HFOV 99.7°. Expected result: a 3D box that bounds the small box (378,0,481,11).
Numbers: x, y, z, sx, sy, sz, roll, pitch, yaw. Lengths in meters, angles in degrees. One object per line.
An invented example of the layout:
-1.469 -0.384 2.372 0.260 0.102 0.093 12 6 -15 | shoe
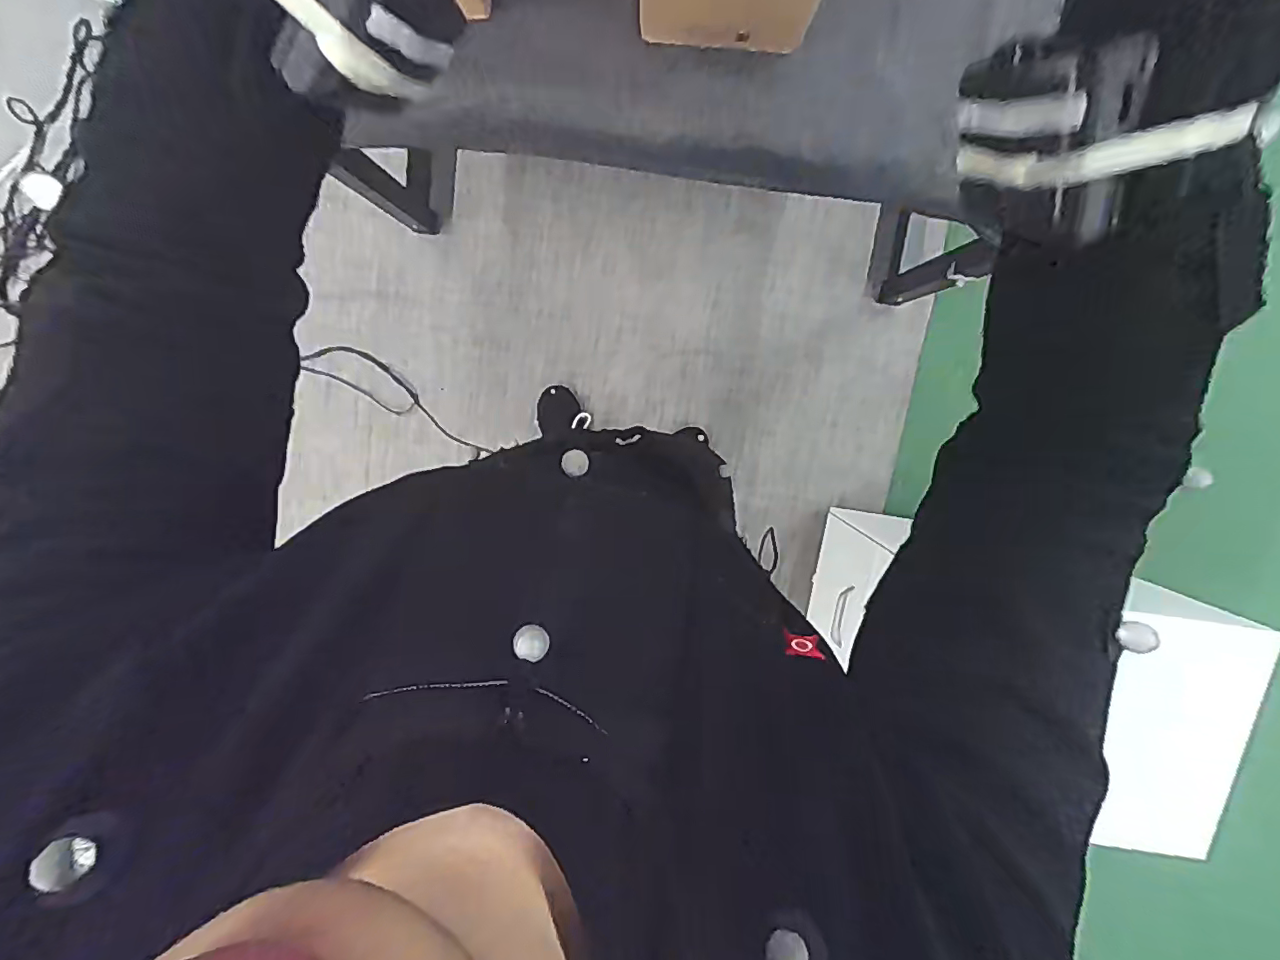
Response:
-0.235 -0.555 0.465 0.168 0.176 0.179 3 99 -1 | small box

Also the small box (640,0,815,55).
0.087 -0.527 0.473 0.168 0.176 0.179 5 99 -1 | small box
